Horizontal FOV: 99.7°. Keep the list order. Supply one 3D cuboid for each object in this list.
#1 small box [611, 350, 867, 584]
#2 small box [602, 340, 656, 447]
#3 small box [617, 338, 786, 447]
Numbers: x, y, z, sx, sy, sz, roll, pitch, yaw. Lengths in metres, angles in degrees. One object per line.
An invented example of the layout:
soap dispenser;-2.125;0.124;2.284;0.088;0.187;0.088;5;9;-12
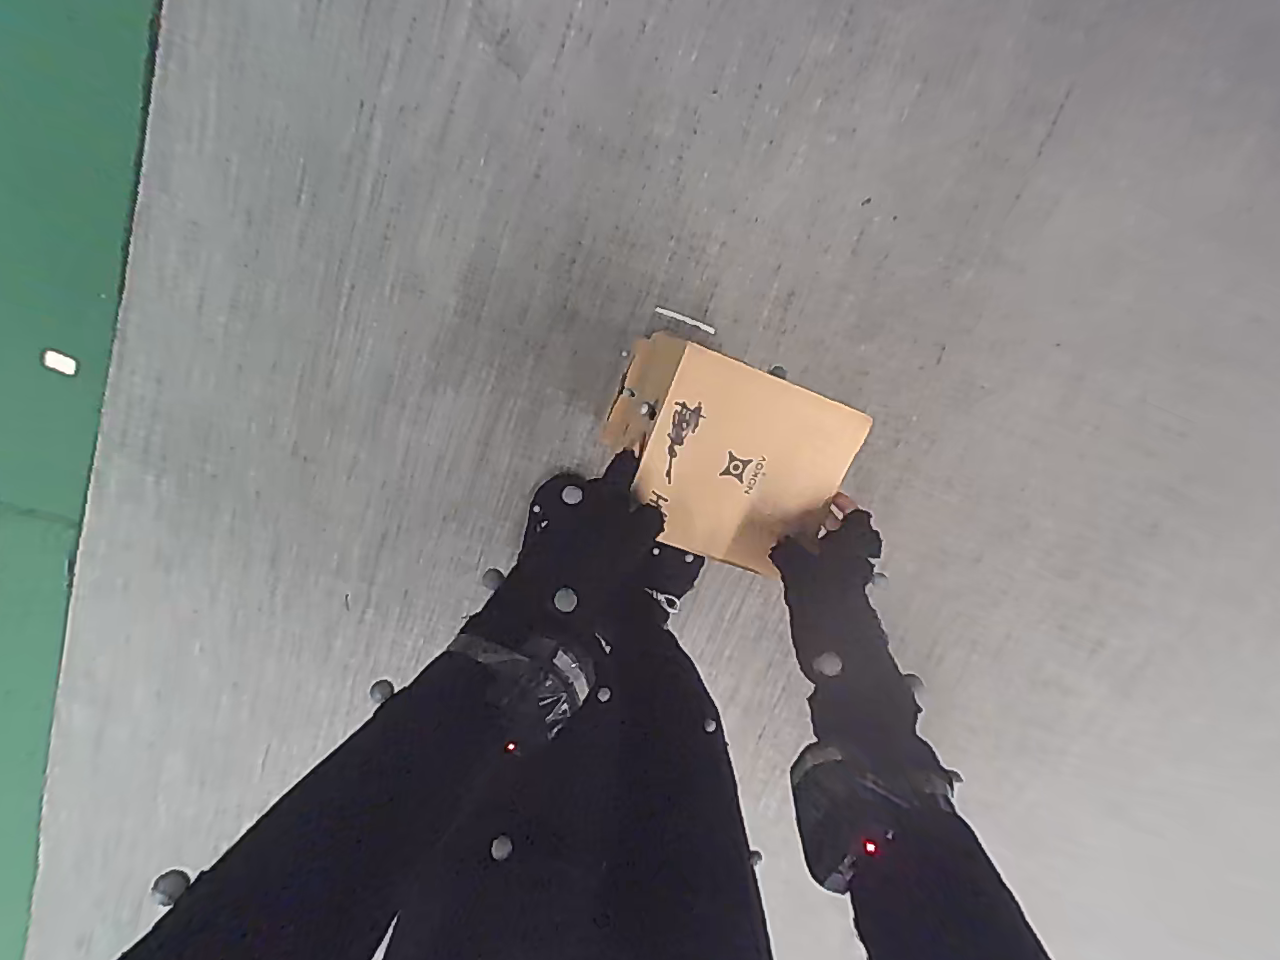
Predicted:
small box;0.081;-0.025;0.545;0.179;0.176;0.168;21;102;-11
small box;0.048;-0.117;0.889;0.179;0.176;0.168;22;102;-8
small box;0.069;-0.079;0.733;0.168;0.176;0.179;21;103;-5
